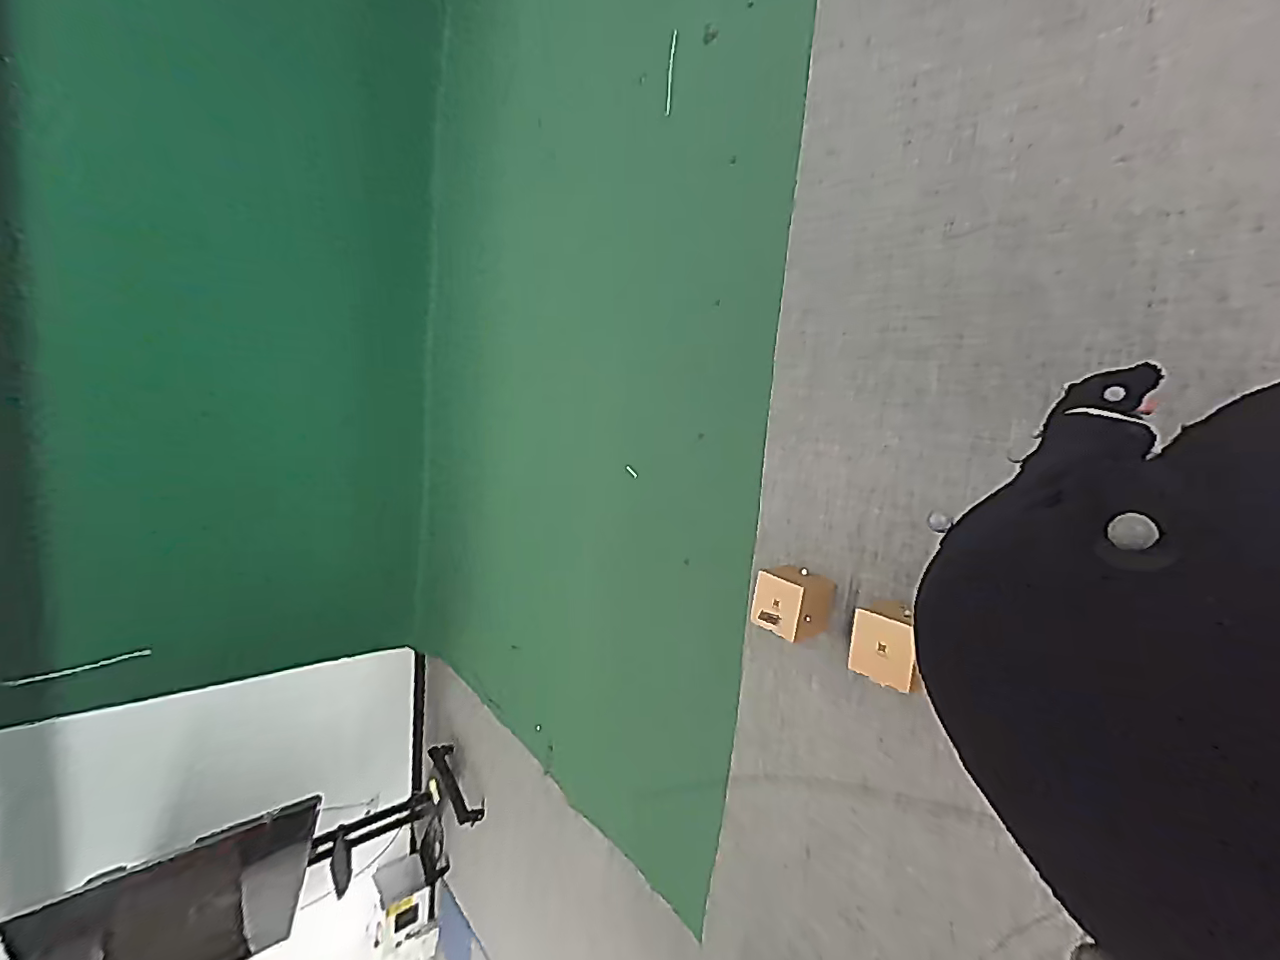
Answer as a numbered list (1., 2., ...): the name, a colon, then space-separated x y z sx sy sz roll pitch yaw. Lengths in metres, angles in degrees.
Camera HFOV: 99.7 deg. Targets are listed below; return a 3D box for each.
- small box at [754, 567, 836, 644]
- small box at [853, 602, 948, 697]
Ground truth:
1. small box: 0.481 0.380 1.670 0.168 0.176 0.179 18 103 48
2. small box: 0.690 0.435 1.426 0.168 0.176 0.179 12 99 49
